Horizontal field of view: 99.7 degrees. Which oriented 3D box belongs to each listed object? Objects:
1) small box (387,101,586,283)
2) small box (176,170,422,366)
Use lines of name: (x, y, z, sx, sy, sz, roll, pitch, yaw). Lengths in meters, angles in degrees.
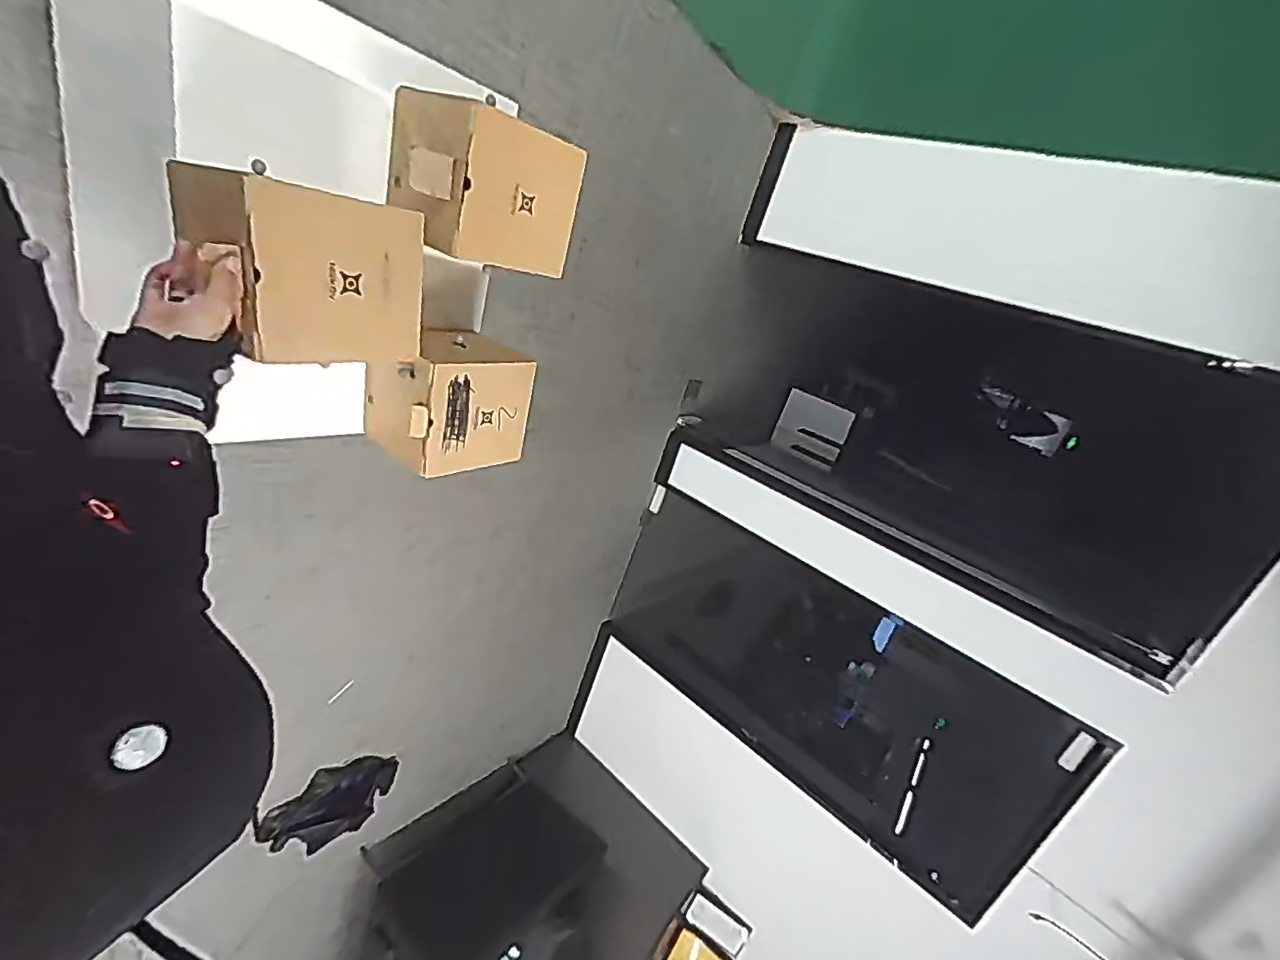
small box: (-0.205, -0.378, 0.719, 0.179, 0.176, 0.168, -12, 127, -50)
small box: (-0.366, -0.226, 0.589, 0.179, 0.176, 0.168, -23, 129, -54)
